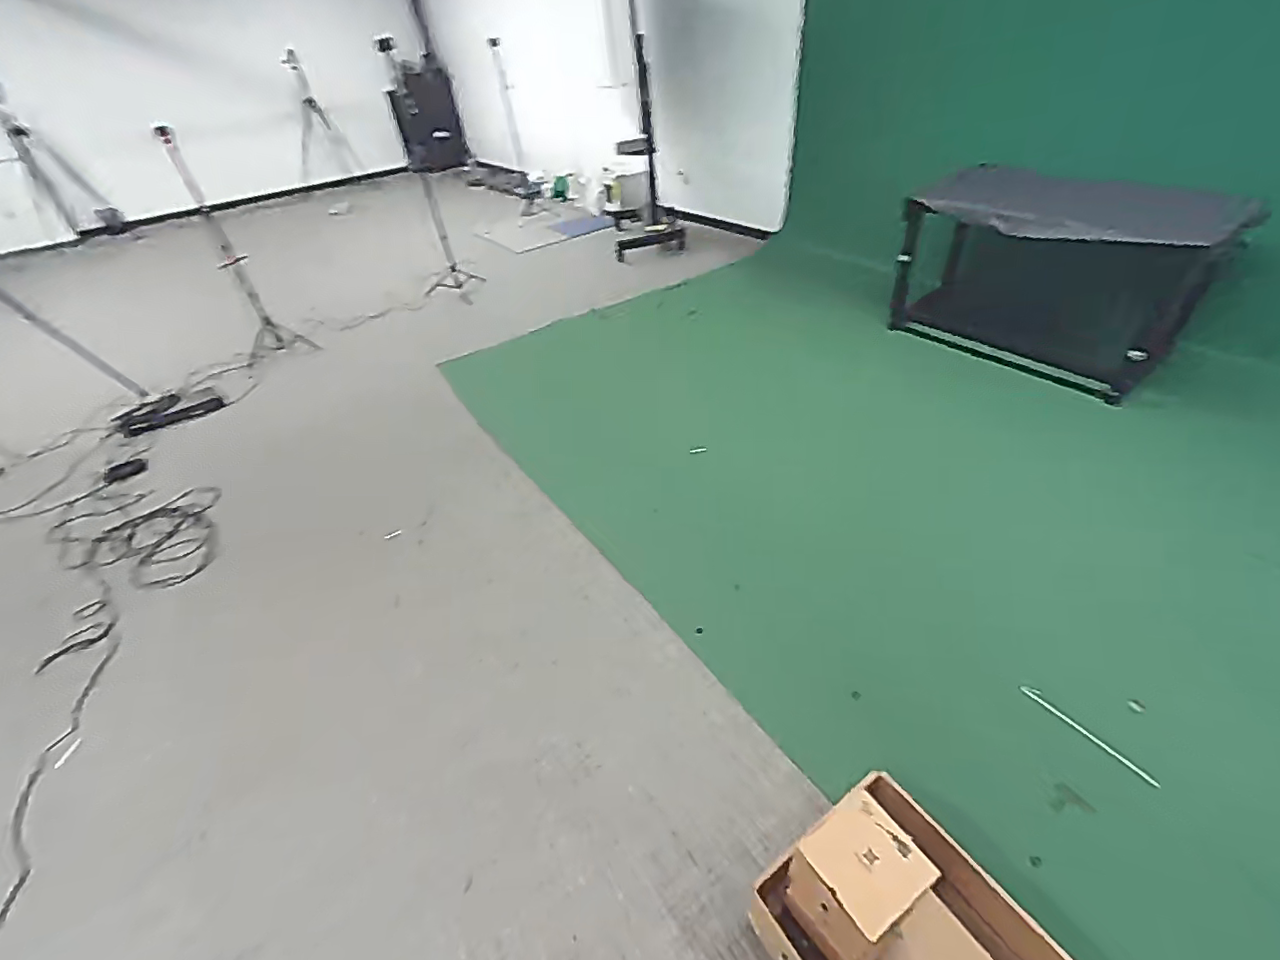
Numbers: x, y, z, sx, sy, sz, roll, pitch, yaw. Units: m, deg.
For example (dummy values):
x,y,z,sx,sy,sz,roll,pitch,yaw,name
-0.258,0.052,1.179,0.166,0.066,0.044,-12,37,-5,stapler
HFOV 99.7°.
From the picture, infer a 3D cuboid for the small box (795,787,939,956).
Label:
x,y,z,sx,sy,sz,roll,pitch,yaw,name
0.401,0.714,0.985,0.179,0.176,0.168,-26,44,-20,small box
